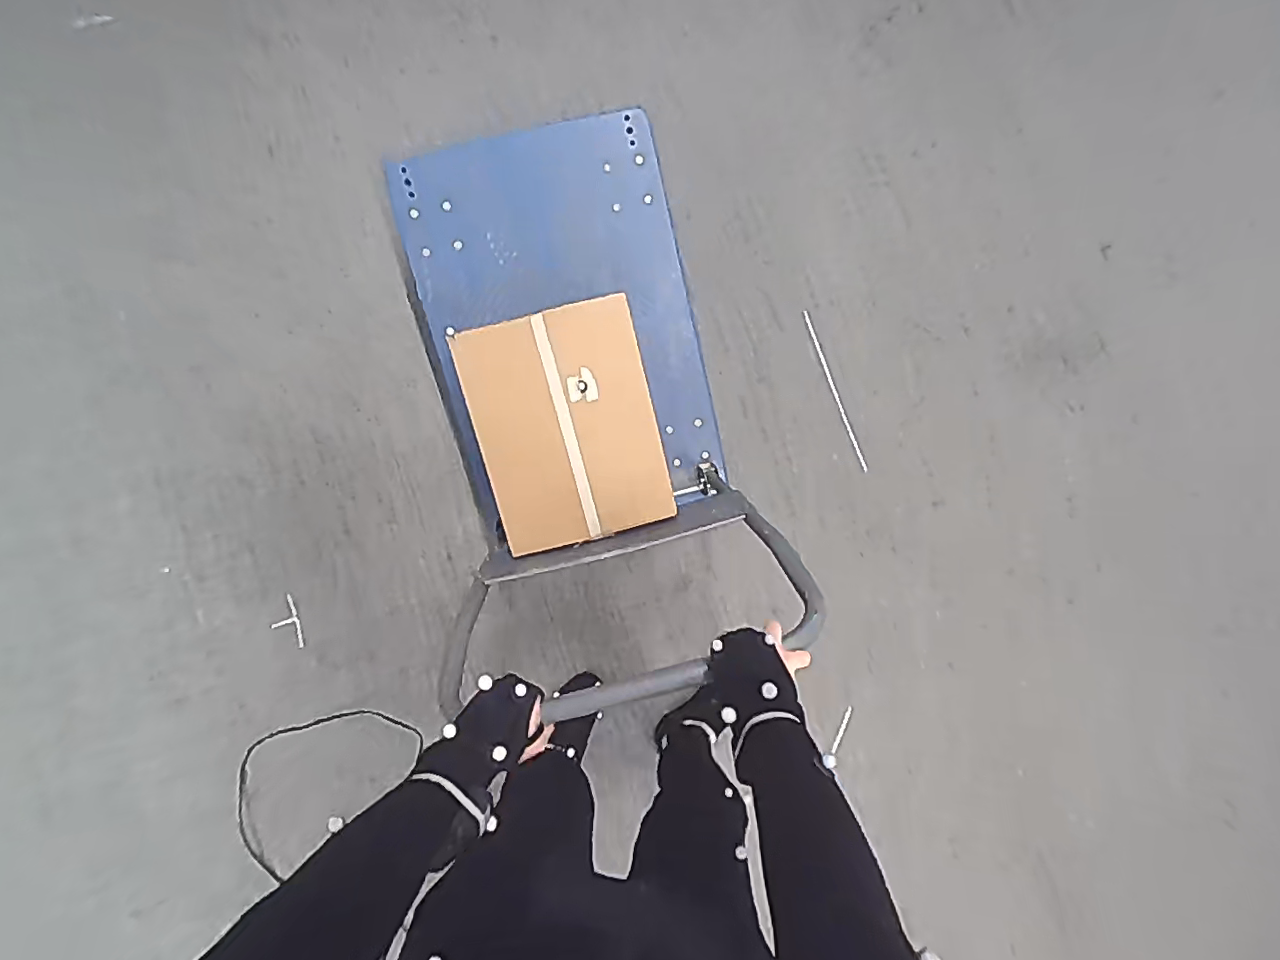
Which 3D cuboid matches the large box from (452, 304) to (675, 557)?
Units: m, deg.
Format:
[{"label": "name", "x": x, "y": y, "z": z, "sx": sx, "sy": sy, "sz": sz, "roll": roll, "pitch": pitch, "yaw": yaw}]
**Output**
[{"label": "large box", "x": -0.138, "y": -0.103, "z": 1.122, "sx": 0.320, "sy": 0.320, "sz": 0.408, "roll": -15, "pitch": 99, "yaw": -2}]
